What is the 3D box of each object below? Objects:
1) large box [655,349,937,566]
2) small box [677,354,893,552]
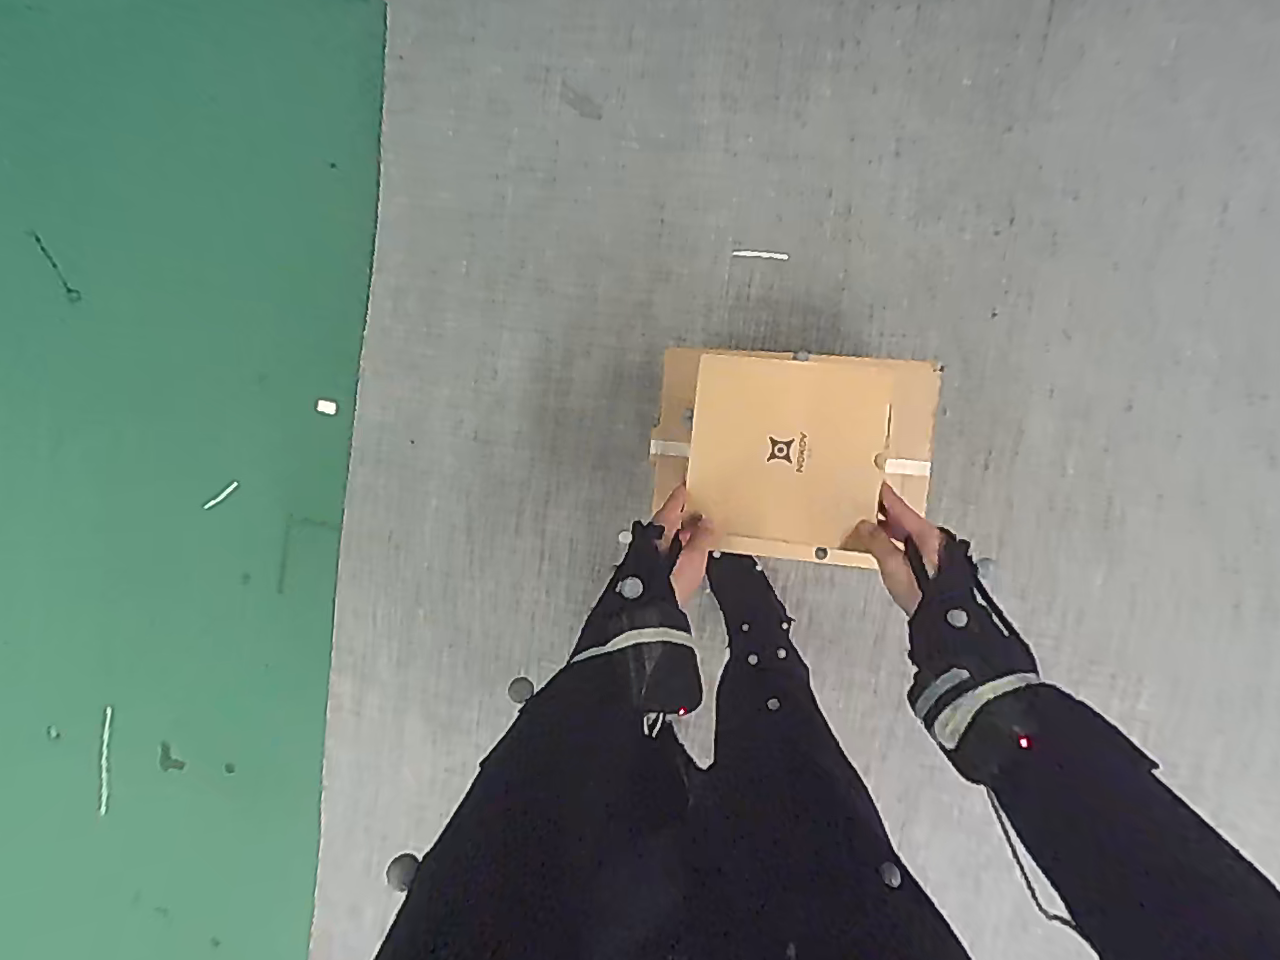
[{"bbox_3d":[0.249,-0.045,0.970,0.408,0.320,0.320,5,95,8],"label":"large box"},{"bbox_3d":[0.140,-0.025,0.569,0.179,0.176,0.168,7,91,7],"label":"small box"}]
